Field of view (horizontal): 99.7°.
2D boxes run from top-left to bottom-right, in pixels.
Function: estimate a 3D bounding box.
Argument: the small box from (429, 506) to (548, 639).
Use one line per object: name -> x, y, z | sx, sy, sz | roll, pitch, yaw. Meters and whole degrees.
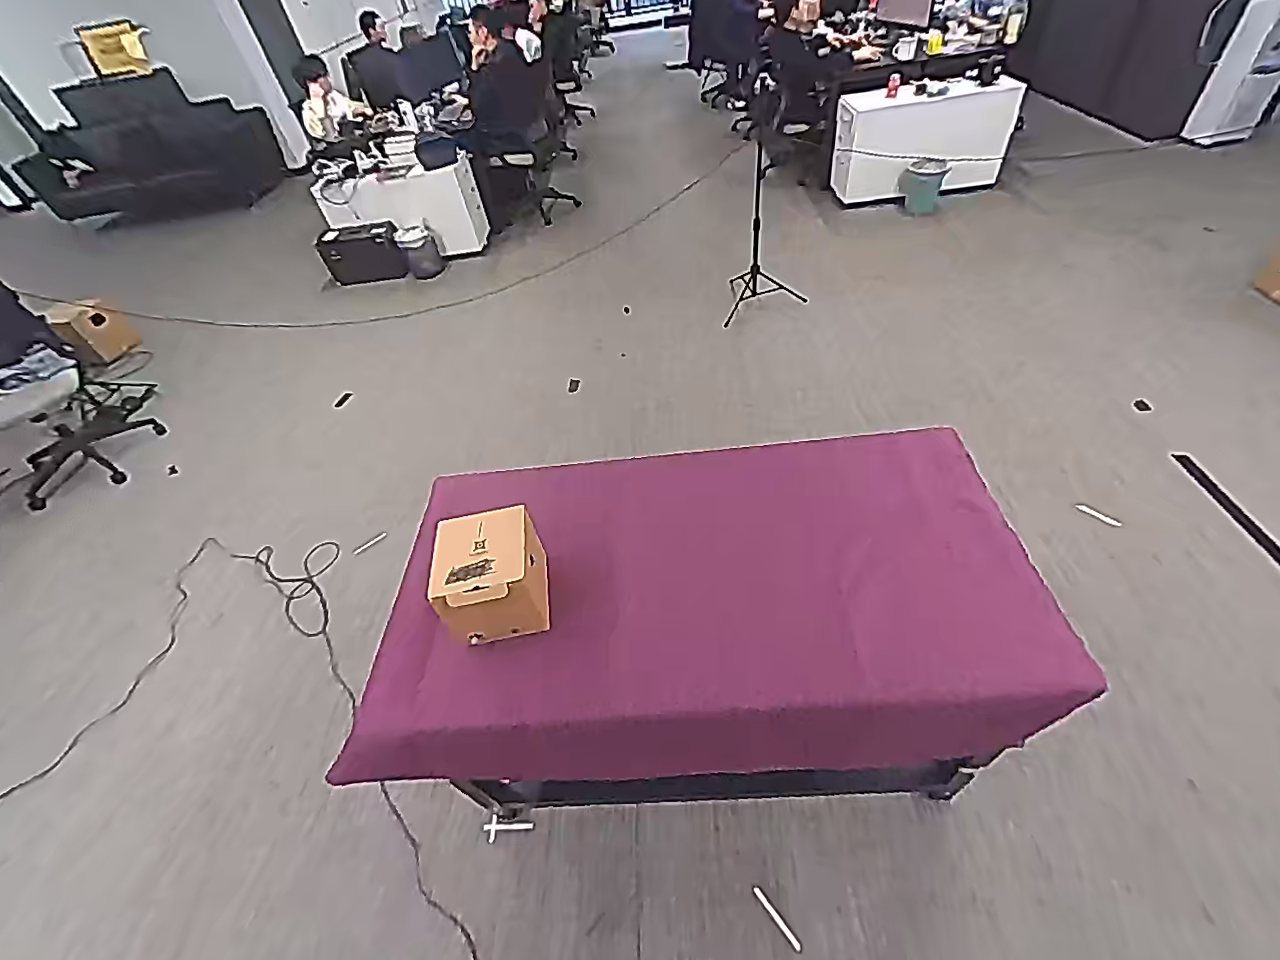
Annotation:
small box -> -0.272, 0.179, 1.009 | 0.168, 0.176, 0.179 | -11, 45, -1
